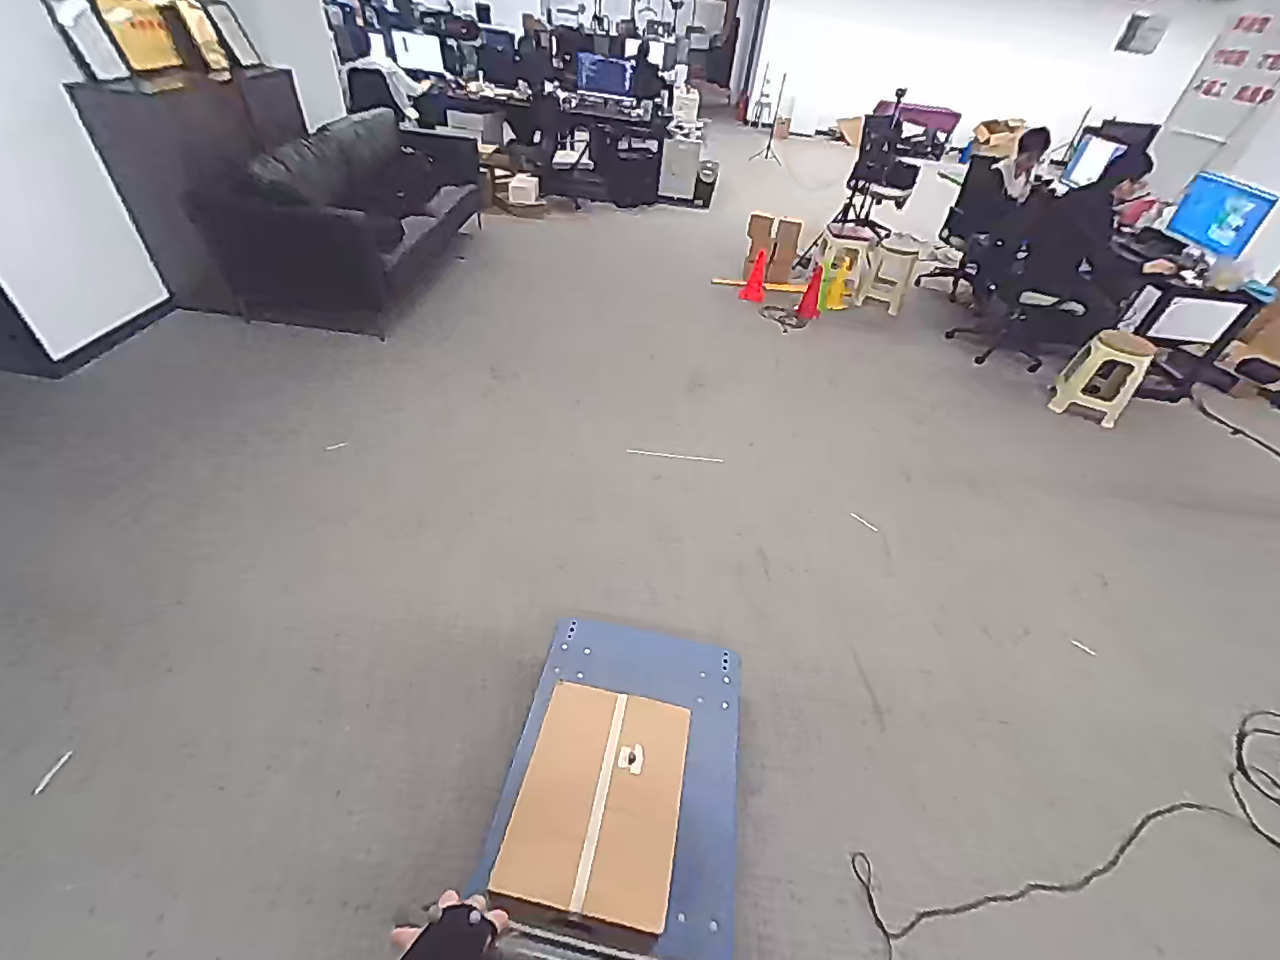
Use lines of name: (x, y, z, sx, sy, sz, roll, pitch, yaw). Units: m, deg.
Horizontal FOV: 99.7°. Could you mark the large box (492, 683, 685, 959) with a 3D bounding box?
large box: (-0.092, 0.726, 1.168, 0.320, 0.320, 0.408, 11, 39, 4)
